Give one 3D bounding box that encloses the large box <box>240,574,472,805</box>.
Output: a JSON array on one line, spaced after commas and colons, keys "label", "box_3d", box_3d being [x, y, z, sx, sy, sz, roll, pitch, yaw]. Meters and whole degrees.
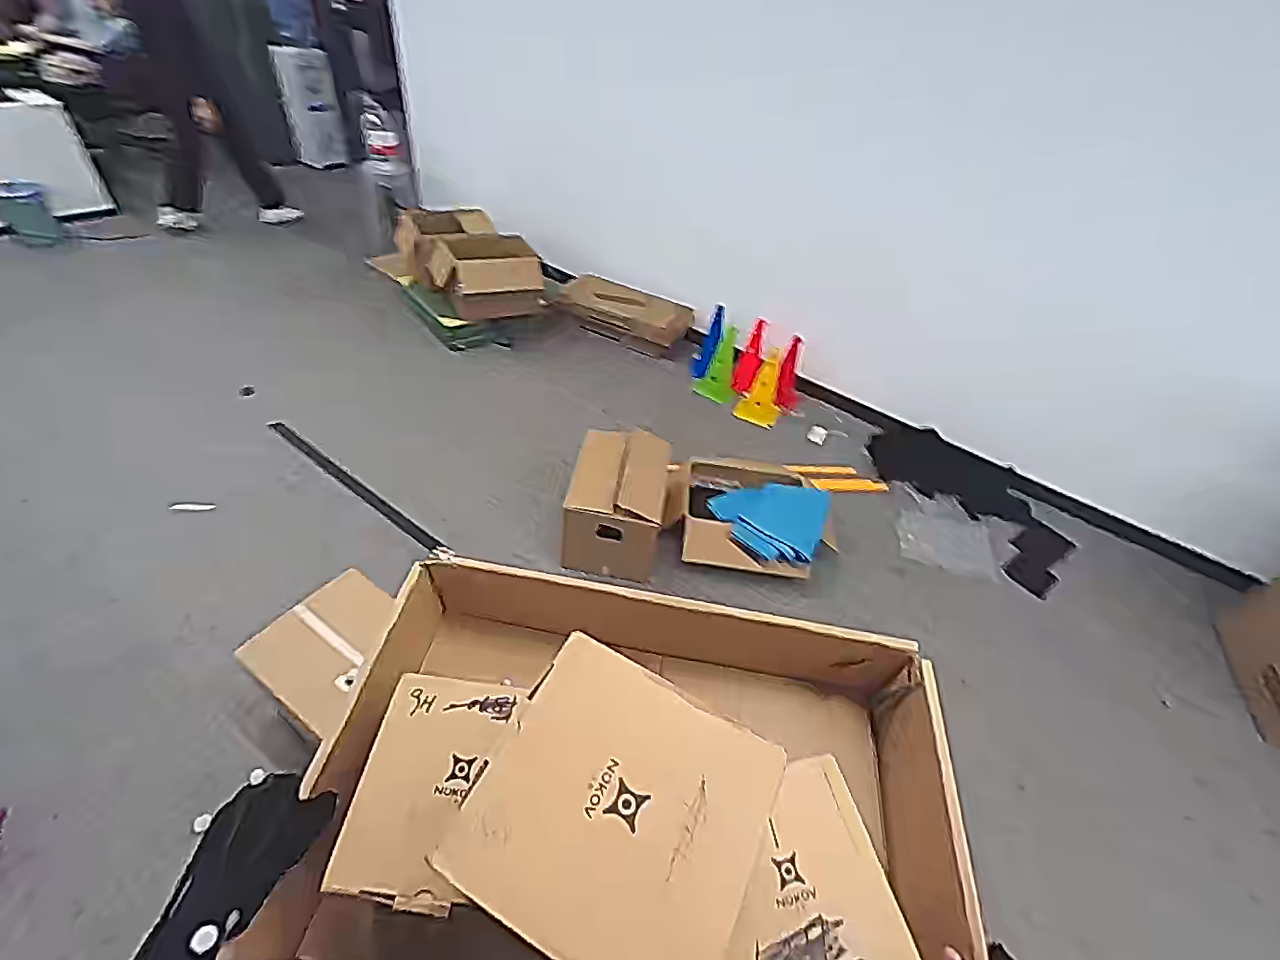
[{"label": "large box", "box_3d": [-0.690, 0.520, 1.369, 0.408, 0.320, 0.320, 28, 46, 19]}]
